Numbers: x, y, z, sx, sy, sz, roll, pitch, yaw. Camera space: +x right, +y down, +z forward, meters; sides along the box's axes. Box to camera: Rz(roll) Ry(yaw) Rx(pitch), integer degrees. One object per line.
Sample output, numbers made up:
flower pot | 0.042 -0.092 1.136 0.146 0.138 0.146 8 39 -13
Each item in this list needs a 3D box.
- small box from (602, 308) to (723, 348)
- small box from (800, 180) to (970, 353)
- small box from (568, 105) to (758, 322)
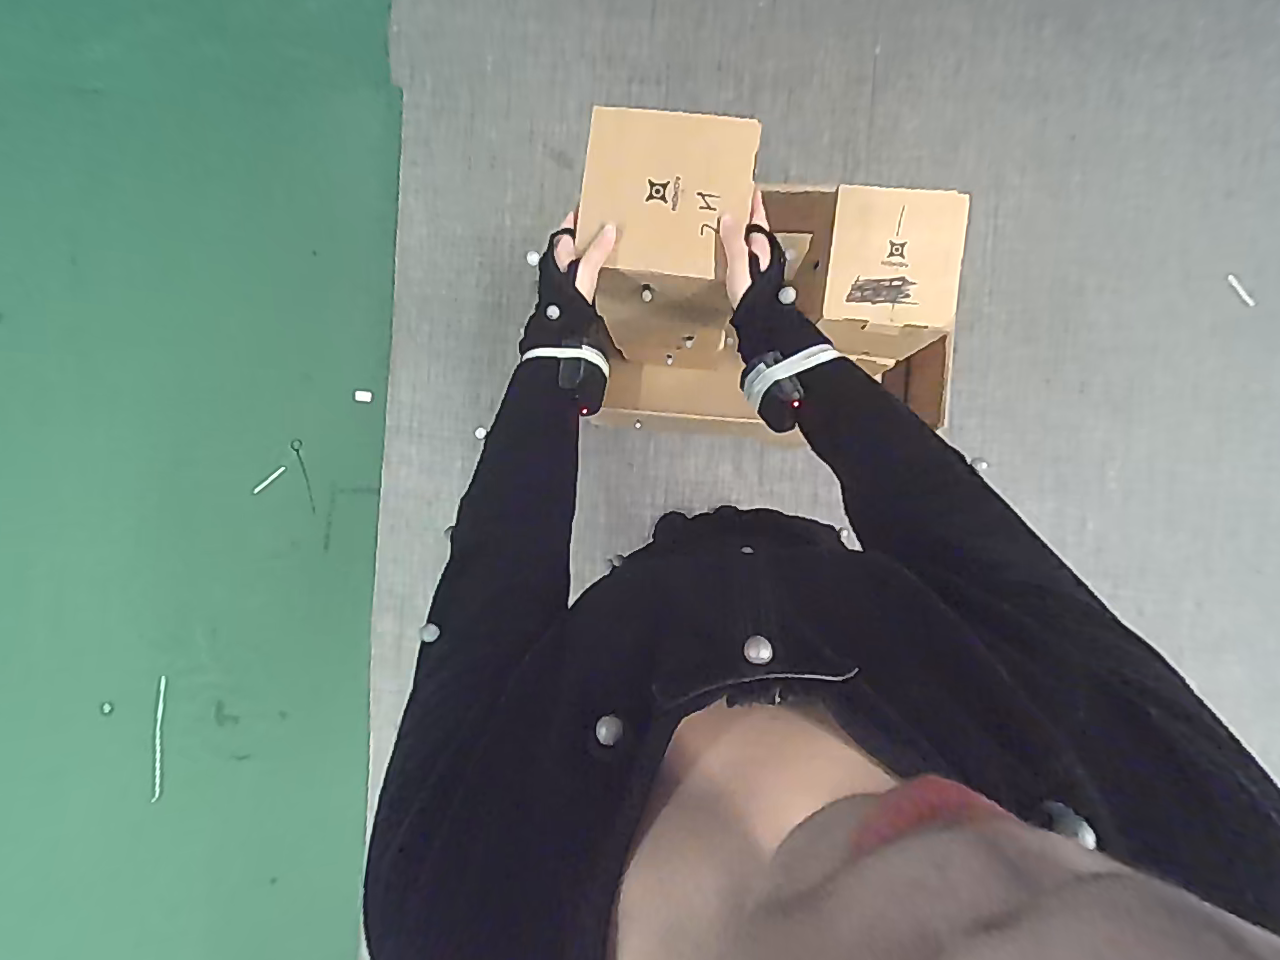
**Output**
small box | 0.045 -0.300 0.792 0.168 0.176 0.179 5 90 4
small box | 0.331 -0.288 0.765 0.168 0.176 0.179 8 90 5
small box | 0.029 -0.293 0.629 0.179 0.176 0.168 8 91 4
